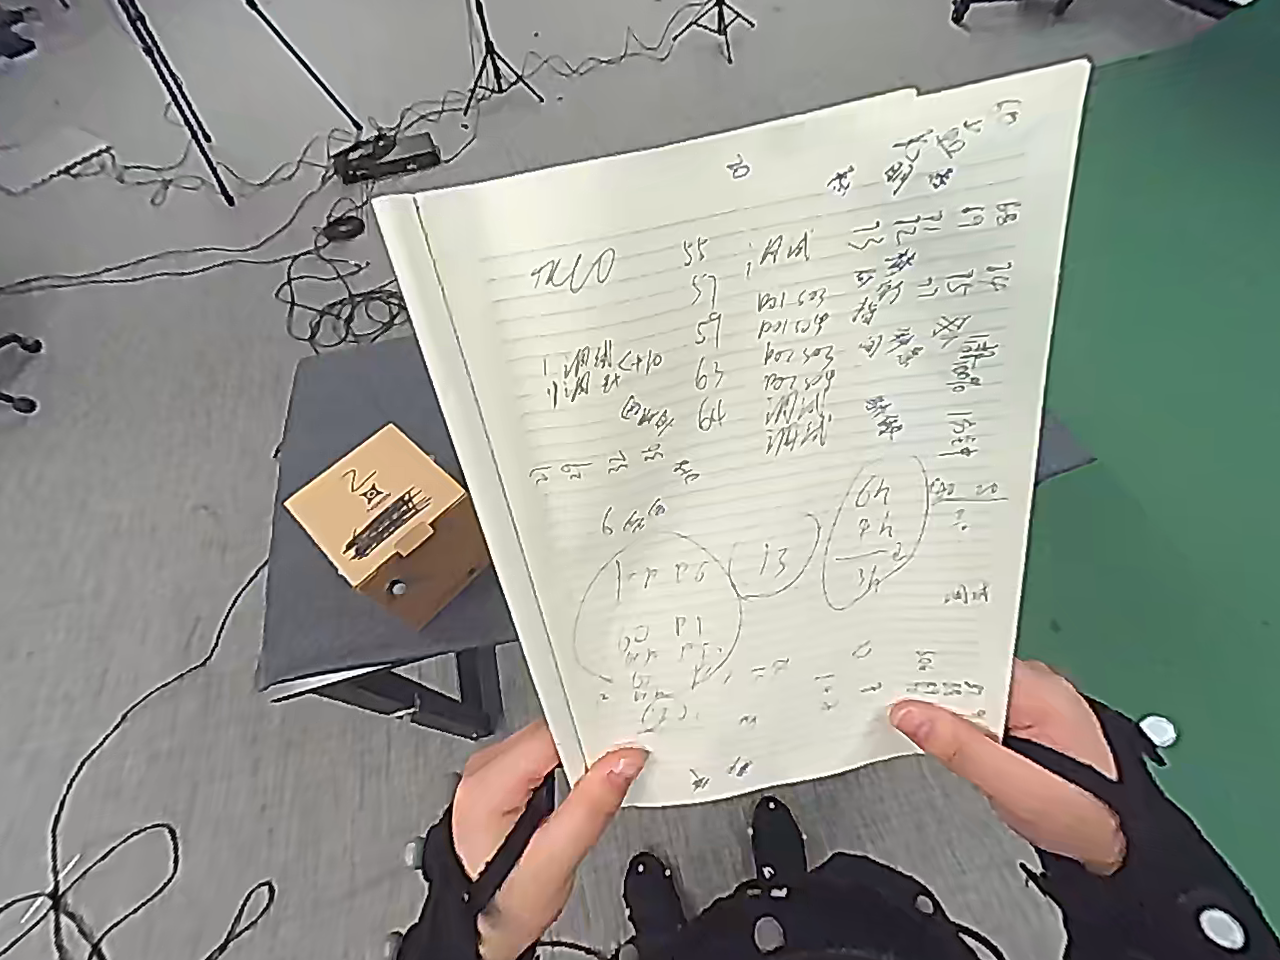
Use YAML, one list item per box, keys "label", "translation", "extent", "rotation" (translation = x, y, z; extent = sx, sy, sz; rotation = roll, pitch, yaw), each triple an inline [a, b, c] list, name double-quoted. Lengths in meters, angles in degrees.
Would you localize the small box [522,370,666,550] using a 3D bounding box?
- label: "small box"
  translation: [-0.062, -0.024, 0.774]
  extent: [0.168, 0.176, 0.179]
  rotation: [-13, 58, -1]
